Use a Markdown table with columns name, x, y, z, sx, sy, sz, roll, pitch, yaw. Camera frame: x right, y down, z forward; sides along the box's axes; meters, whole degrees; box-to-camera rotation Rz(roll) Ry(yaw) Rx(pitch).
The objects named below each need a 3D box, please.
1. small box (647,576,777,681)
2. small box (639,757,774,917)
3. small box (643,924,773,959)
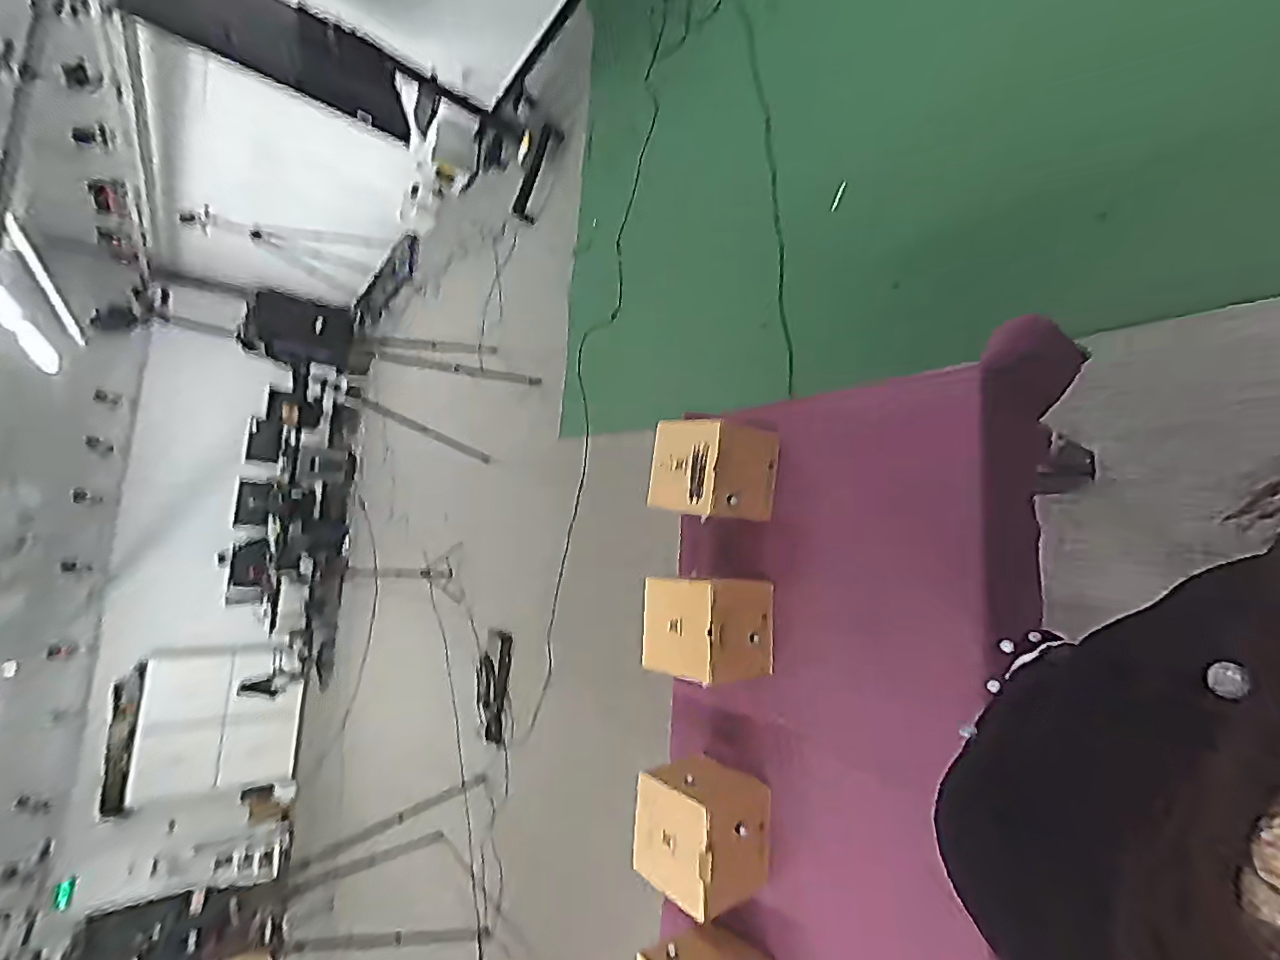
| name | x | y | z | sx | sy | sz | roll | pitch | yaw |
| --- | --- | --- | --- | --- | --- | --- | --- | --- | --- |
| small box | 0.135 | 0.271 | 1.015 | 0.179 | 0.176 | 0.168 | -8 | 77 | 50 |
| small box | 0.121 | 0.616 | 0.963 | 0.179 | 0.176 | 0.168 | -5 | 78 | 51 |
| small box | 0.121 | 0.891 | 0.904 | 0.179 | 0.176 | 0.168 | -13 | 73 | 49 |
